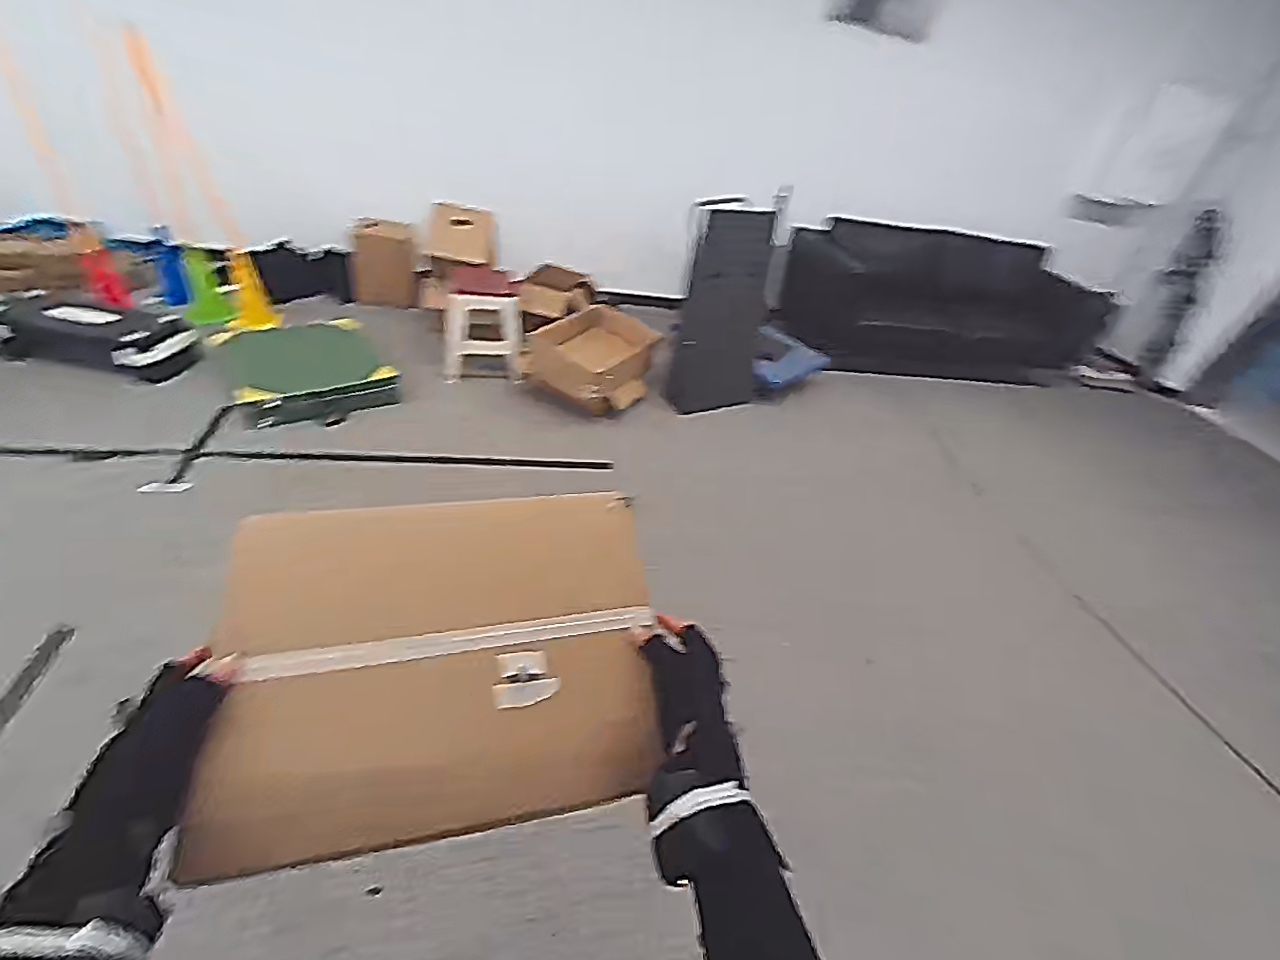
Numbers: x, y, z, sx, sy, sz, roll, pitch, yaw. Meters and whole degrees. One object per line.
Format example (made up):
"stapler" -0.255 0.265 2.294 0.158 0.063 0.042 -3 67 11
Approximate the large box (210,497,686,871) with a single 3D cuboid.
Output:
"large box" -0.202 0.241 0.665 0.408 0.320 0.320 -3 59 -15
